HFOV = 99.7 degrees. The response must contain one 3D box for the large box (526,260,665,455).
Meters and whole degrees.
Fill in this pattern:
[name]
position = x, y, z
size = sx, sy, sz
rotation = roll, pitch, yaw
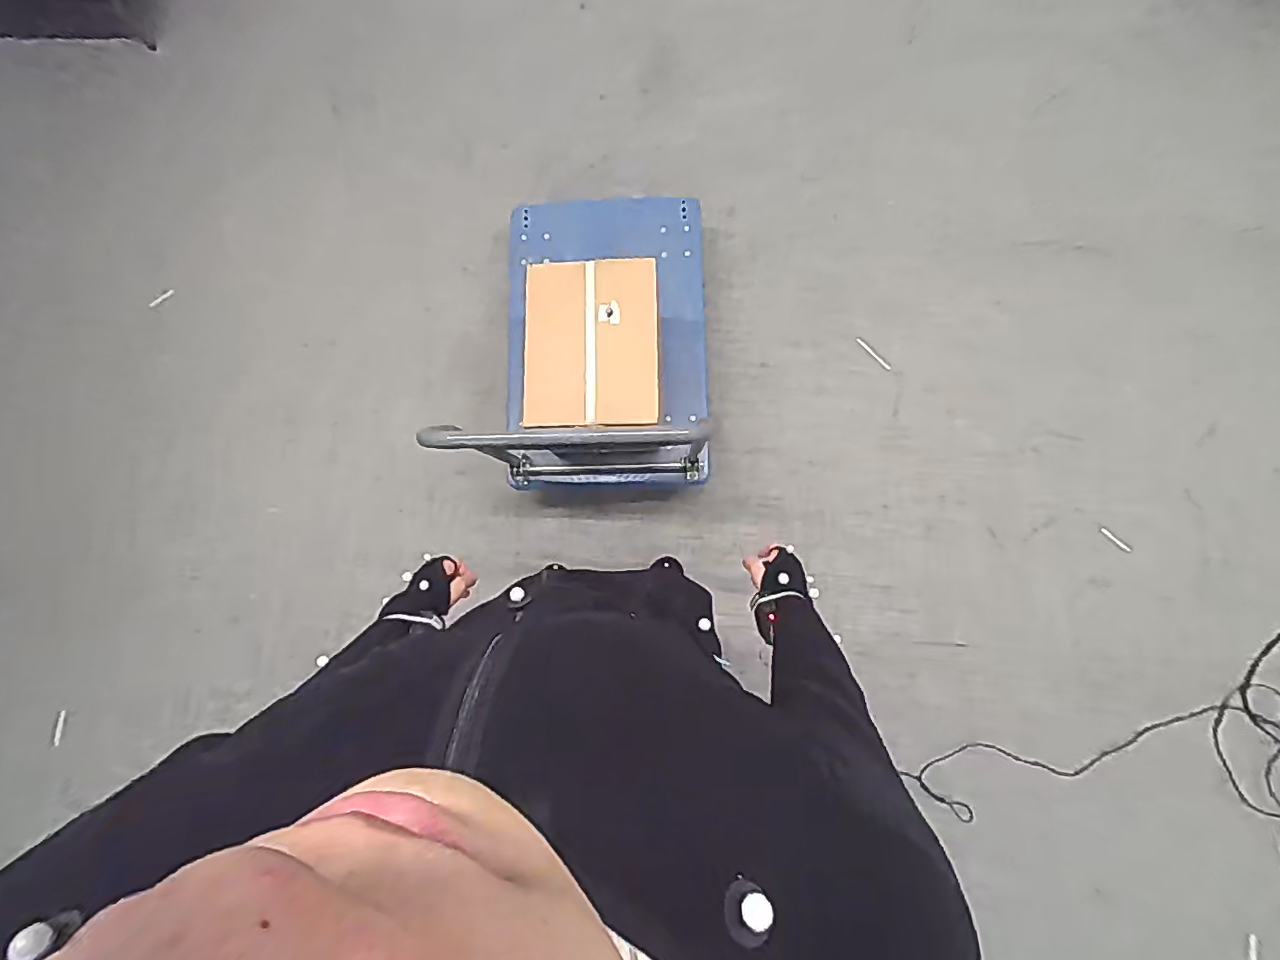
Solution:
[large box]
position = -0.099, -0.295, 1.399
size = 0.320, 0.320, 0.408
rotation = -1, 81, 3
